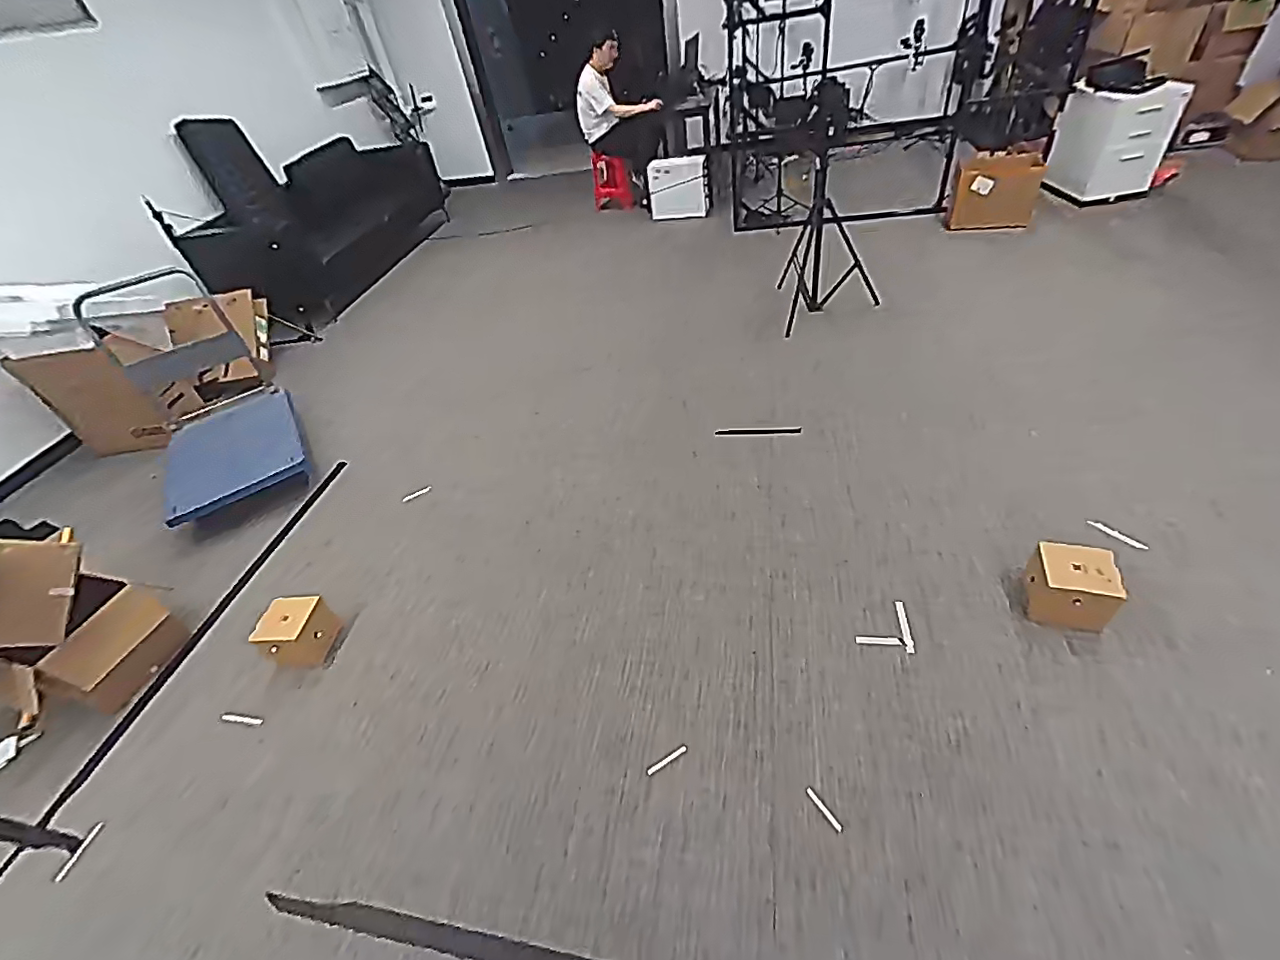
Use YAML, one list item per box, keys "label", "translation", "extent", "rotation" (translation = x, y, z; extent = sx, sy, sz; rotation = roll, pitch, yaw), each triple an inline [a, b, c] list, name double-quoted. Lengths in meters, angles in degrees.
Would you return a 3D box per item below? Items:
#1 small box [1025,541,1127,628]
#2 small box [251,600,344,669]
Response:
- label: "small box"
  translation: [1.220, 0.298, 1.533]
  extent: [0.179, 0.176, 0.168]
  rotation: [7, 46, 19]
- label: "small box"
  translation: [-1.147, 0.525, 1.828]
  extent: [0.179, 0.176, 0.168]
  rotation: [-5, 43, 8]
